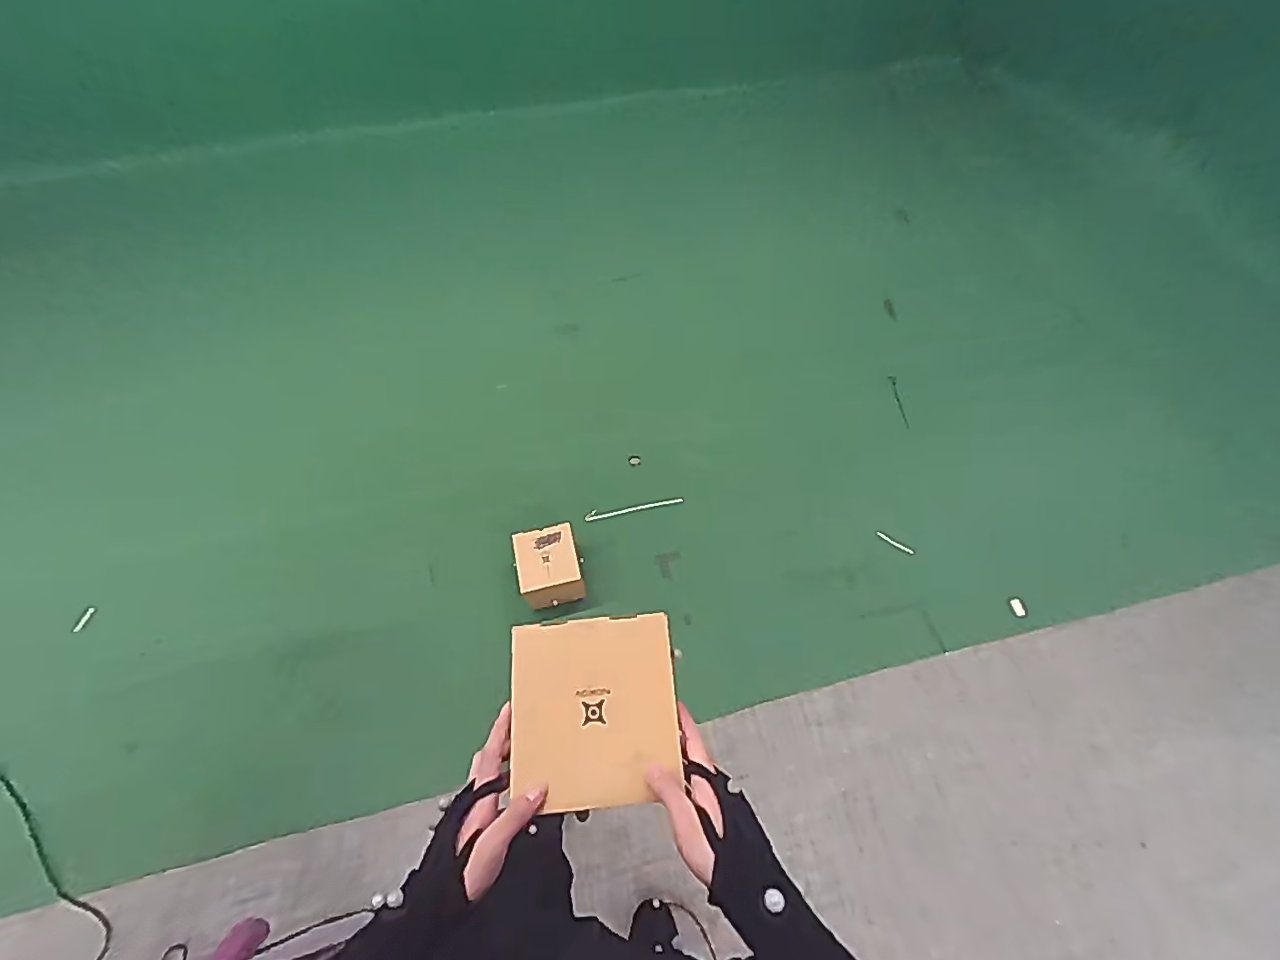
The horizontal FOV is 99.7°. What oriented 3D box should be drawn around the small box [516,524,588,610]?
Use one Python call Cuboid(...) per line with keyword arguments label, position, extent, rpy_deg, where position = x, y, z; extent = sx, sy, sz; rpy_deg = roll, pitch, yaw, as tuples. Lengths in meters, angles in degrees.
Cuboid(label="small box", position=(-0.248, 0.250, 1.547), extent=(0.168, 0.176, 0.179), rpy_deg=(-13, 62, -7))
